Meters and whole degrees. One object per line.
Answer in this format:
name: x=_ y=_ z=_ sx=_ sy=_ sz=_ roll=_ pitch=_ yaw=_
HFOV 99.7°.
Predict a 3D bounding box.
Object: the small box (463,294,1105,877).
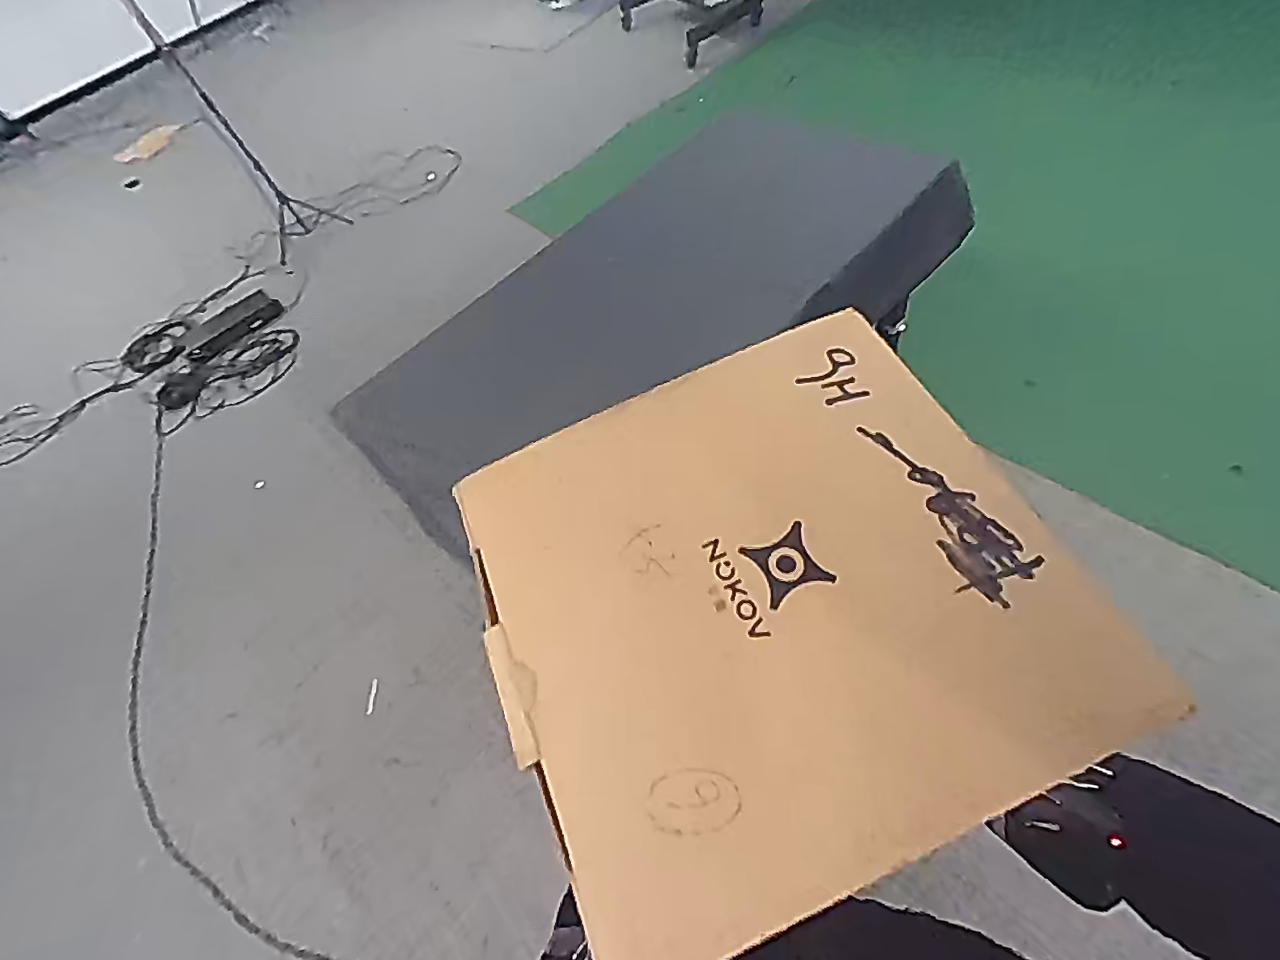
small box: x=0.046 y=0.053 z=0.265 sx=0.179 sy=0.176 sz=0.168 roll=-26 pitch=61 yaw=-5
